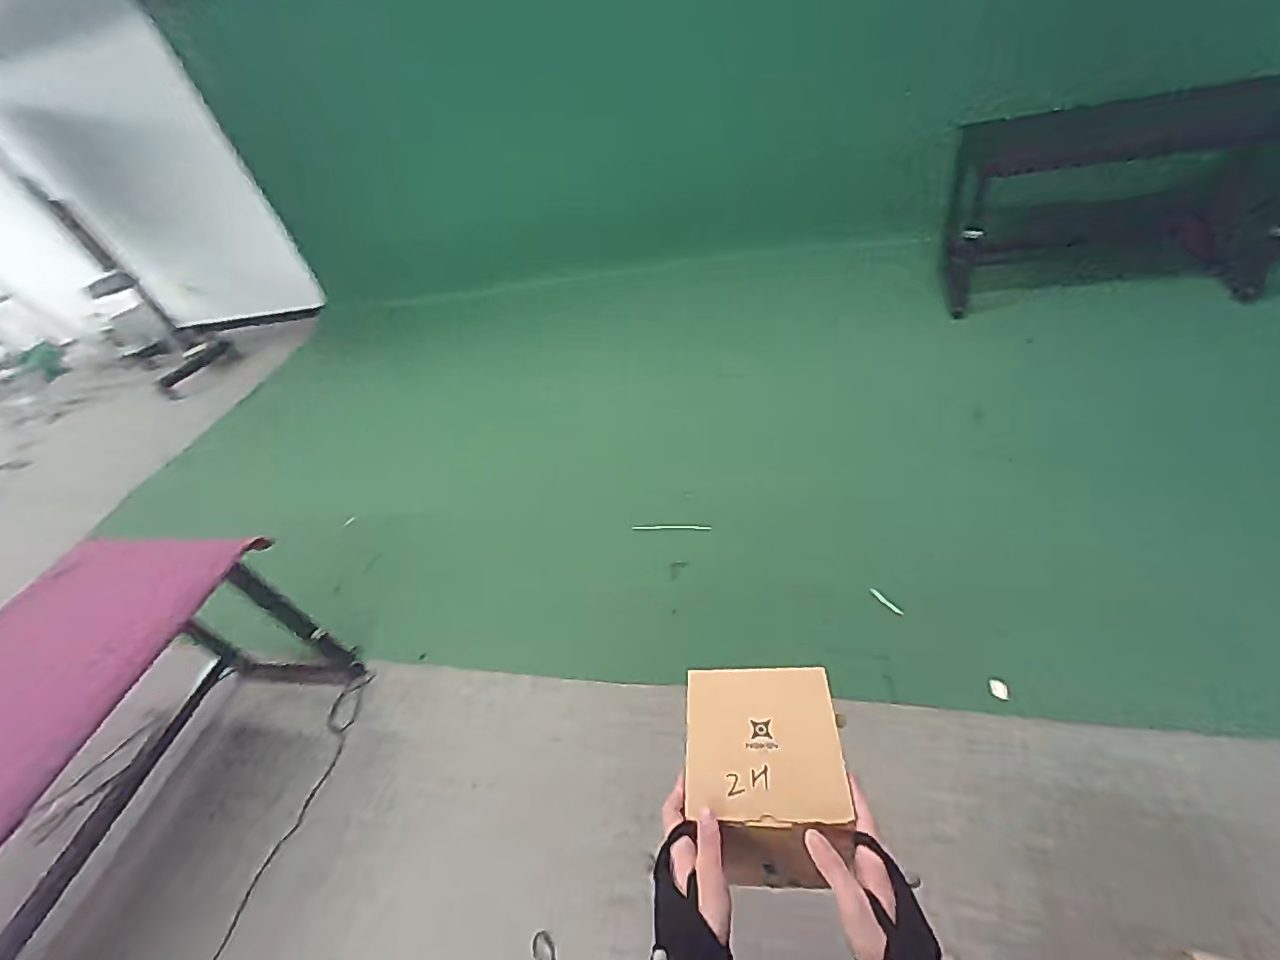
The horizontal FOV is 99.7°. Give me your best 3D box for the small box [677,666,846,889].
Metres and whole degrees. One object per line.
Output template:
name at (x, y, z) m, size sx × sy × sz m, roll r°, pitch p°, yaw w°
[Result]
small box at (0.137, 0.346, 0.639) m, size 0.168 × 0.176 × 0.179 m, roll -6°, pitch 36°, yaw 10°
